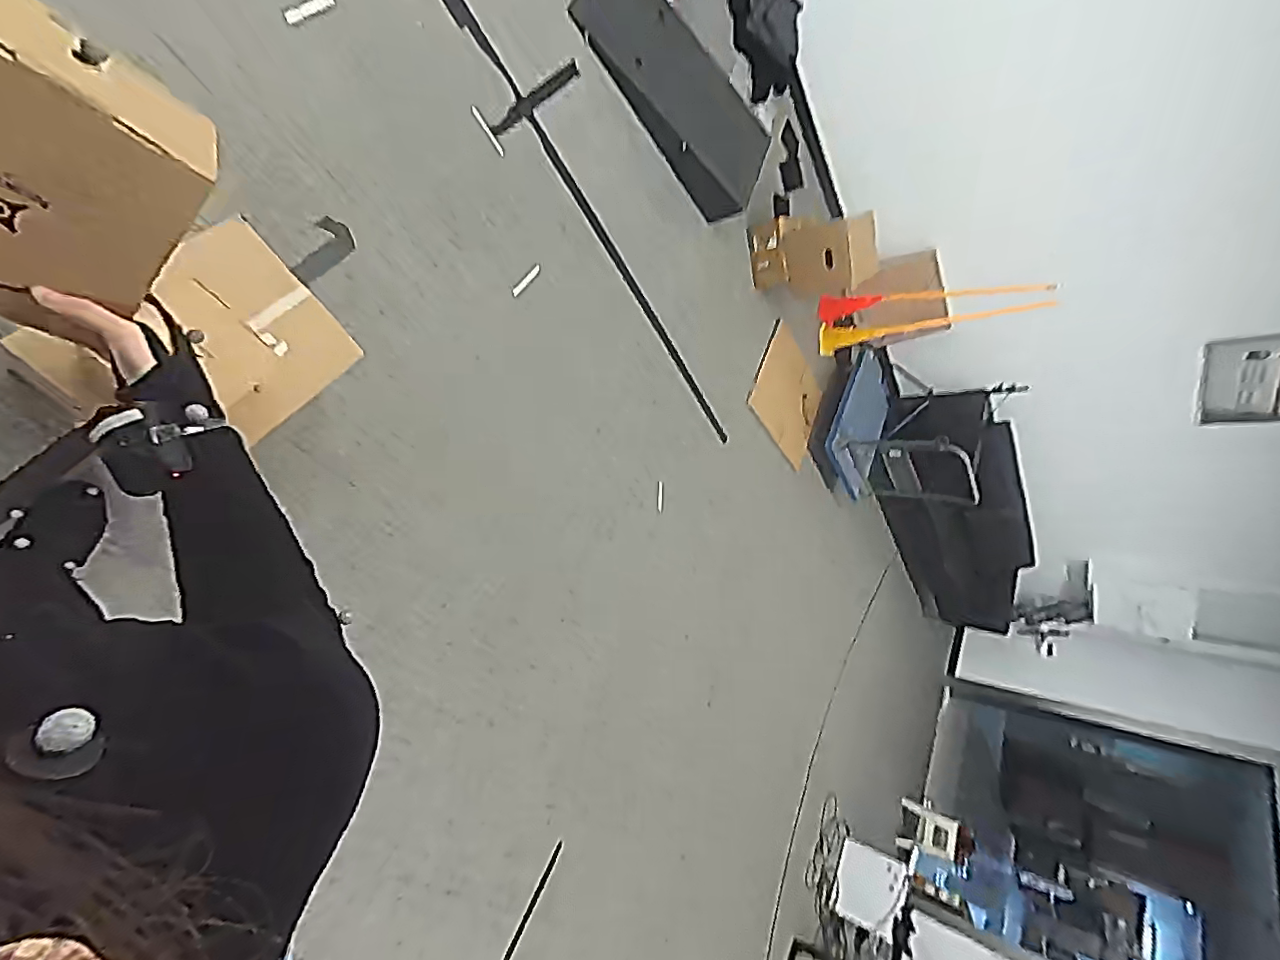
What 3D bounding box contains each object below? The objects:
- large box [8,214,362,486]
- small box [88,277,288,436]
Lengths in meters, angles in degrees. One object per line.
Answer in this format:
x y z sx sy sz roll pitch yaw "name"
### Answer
-0.856 -0.233 1.052 0.408 0.320 0.320 -57 130 -31 "large box"
-0.709 -0.186 0.849 0.168 0.176 0.179 55 54 -31 "small box"
